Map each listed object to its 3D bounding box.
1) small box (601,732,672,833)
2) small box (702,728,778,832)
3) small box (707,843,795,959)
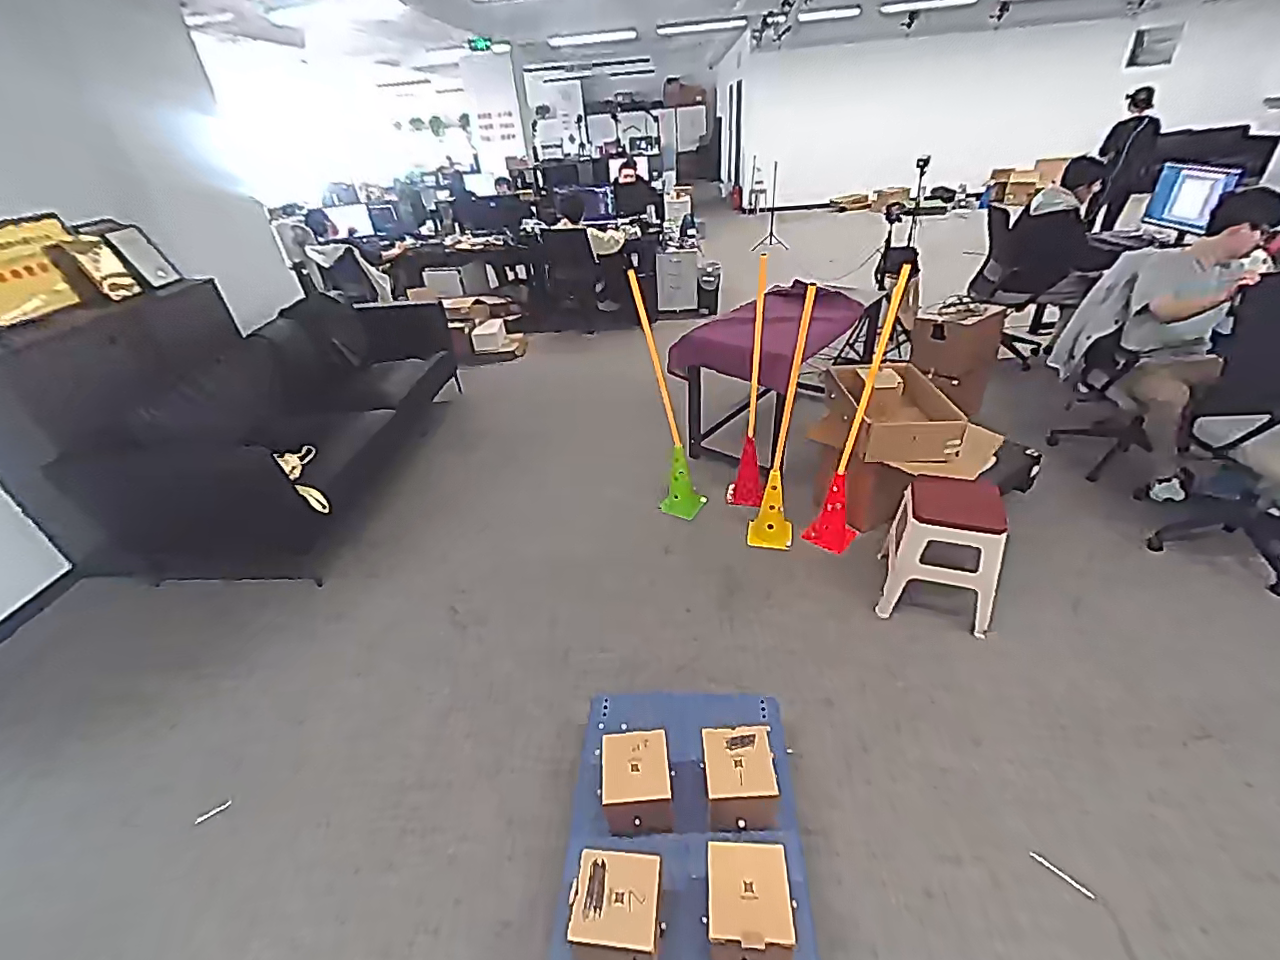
[{"bbox_3d":[-0.009,0.777,1.383,0.168,0.176,0.179,-5,34,0],"label":"small box"},{"bbox_3d":[0.246,0.760,1.373,0.168,0.176,0.179,-4,34,3],"label":"small box"},{"bbox_3d":[0.228,0.911,1.151,0.168,0.176,0.179,-1,34,6],"label":"small box"}]
